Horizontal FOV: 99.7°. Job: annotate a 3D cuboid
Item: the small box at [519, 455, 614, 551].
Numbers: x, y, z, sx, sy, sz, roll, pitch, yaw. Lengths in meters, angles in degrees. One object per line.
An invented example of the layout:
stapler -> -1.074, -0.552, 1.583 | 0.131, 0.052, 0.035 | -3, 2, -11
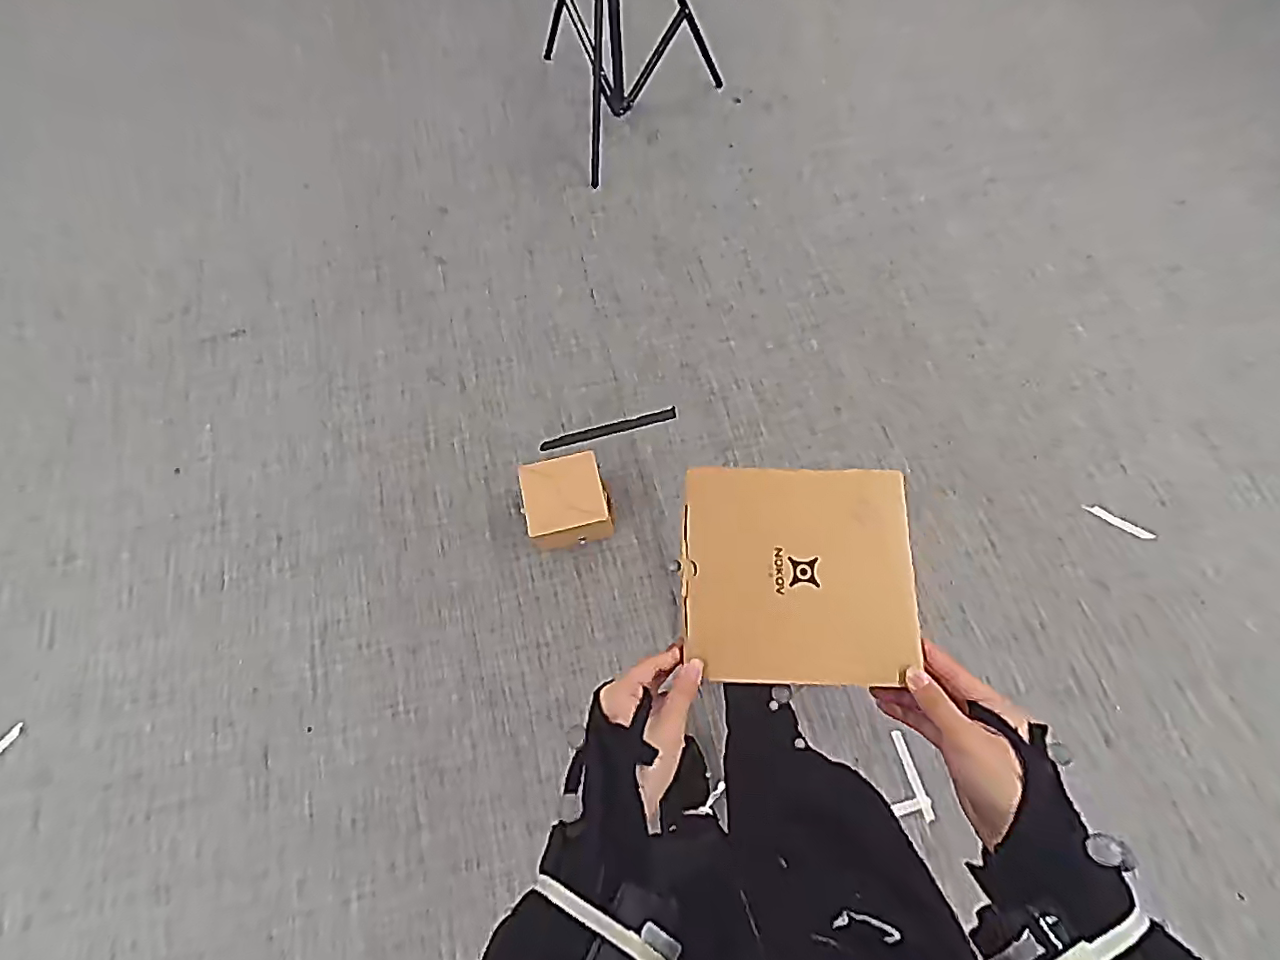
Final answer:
small box -> -0.166, 0.054, 1.254 | 0.179, 0.176, 0.168 | -13, 71, -4

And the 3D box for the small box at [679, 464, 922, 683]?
small box -> 0.126, 0.087, 0.495 | 0.179, 0.176, 0.168 | 0, 75, 4
